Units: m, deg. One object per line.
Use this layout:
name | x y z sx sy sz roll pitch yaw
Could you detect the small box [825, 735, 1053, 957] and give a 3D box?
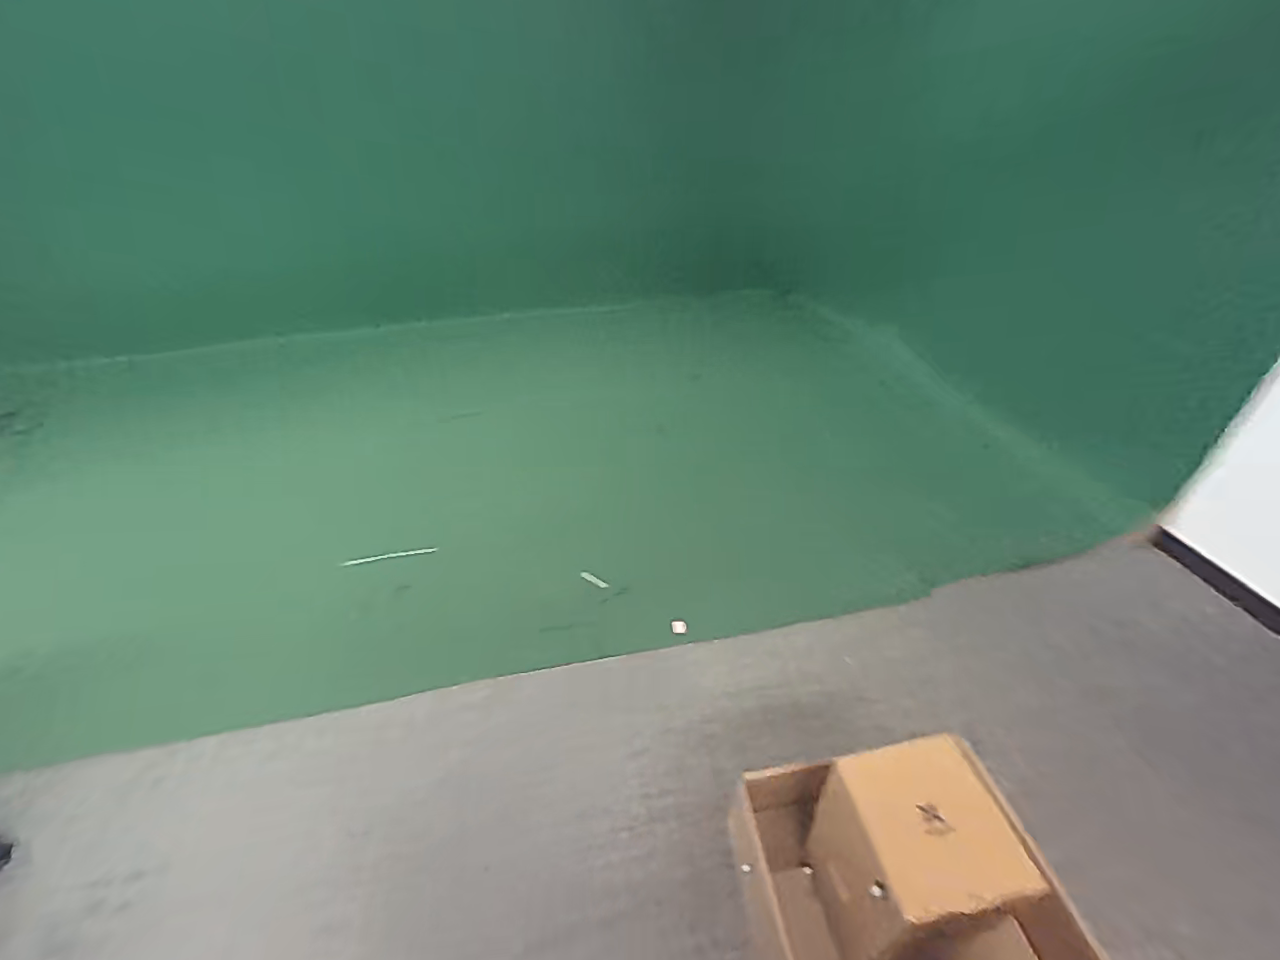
small box | 0.356 0.462 0.689 0.168 0.176 0.179 -9 39 -6
